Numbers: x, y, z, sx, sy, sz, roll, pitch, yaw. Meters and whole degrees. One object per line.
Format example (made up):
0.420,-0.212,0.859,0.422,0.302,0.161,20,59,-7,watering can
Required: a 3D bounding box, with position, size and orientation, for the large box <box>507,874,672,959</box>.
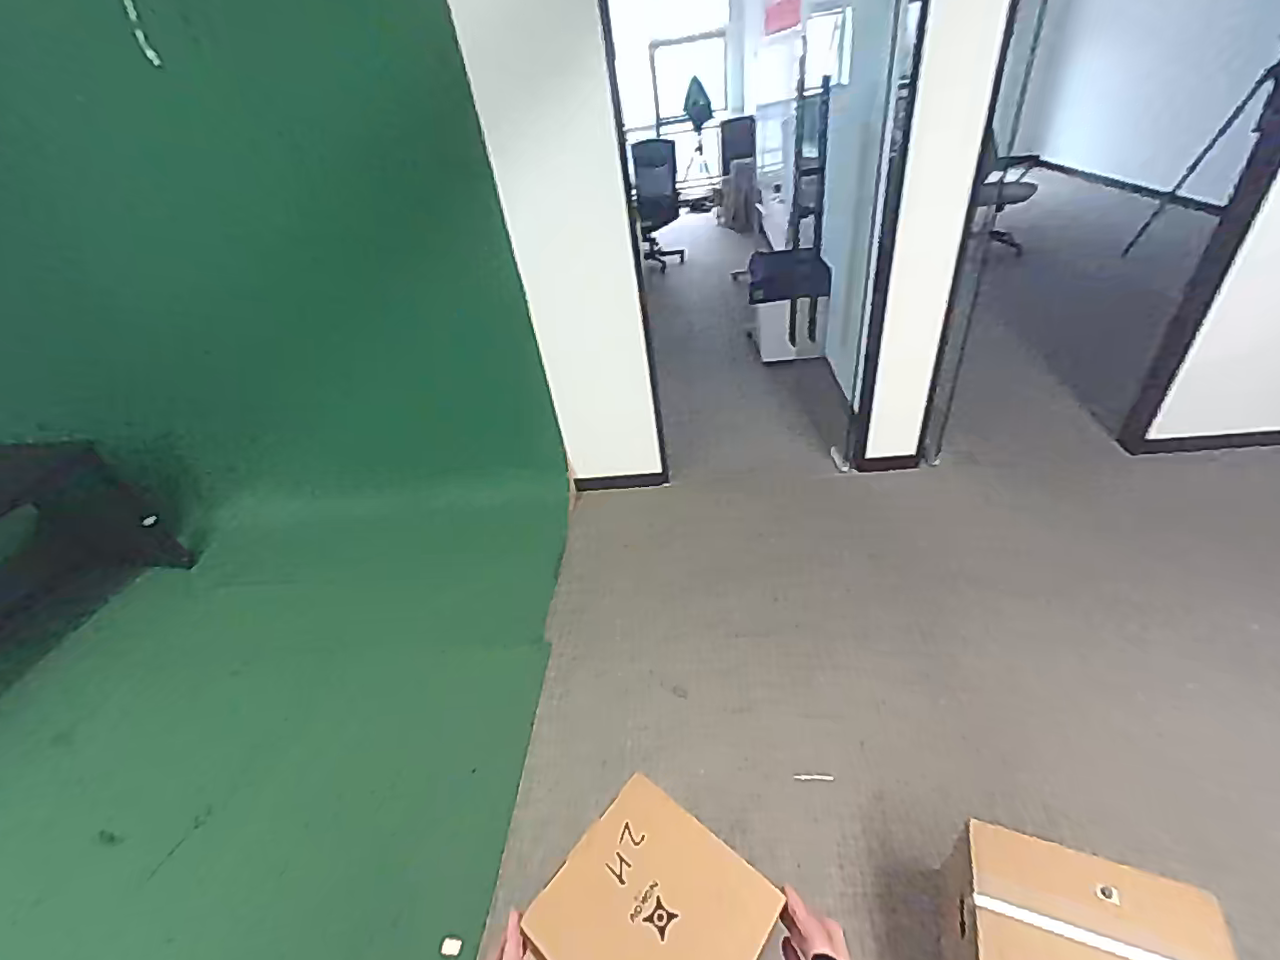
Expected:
-0.099,1.111,1.081,0.408,0.320,0.320,-25,39,-18,large box
